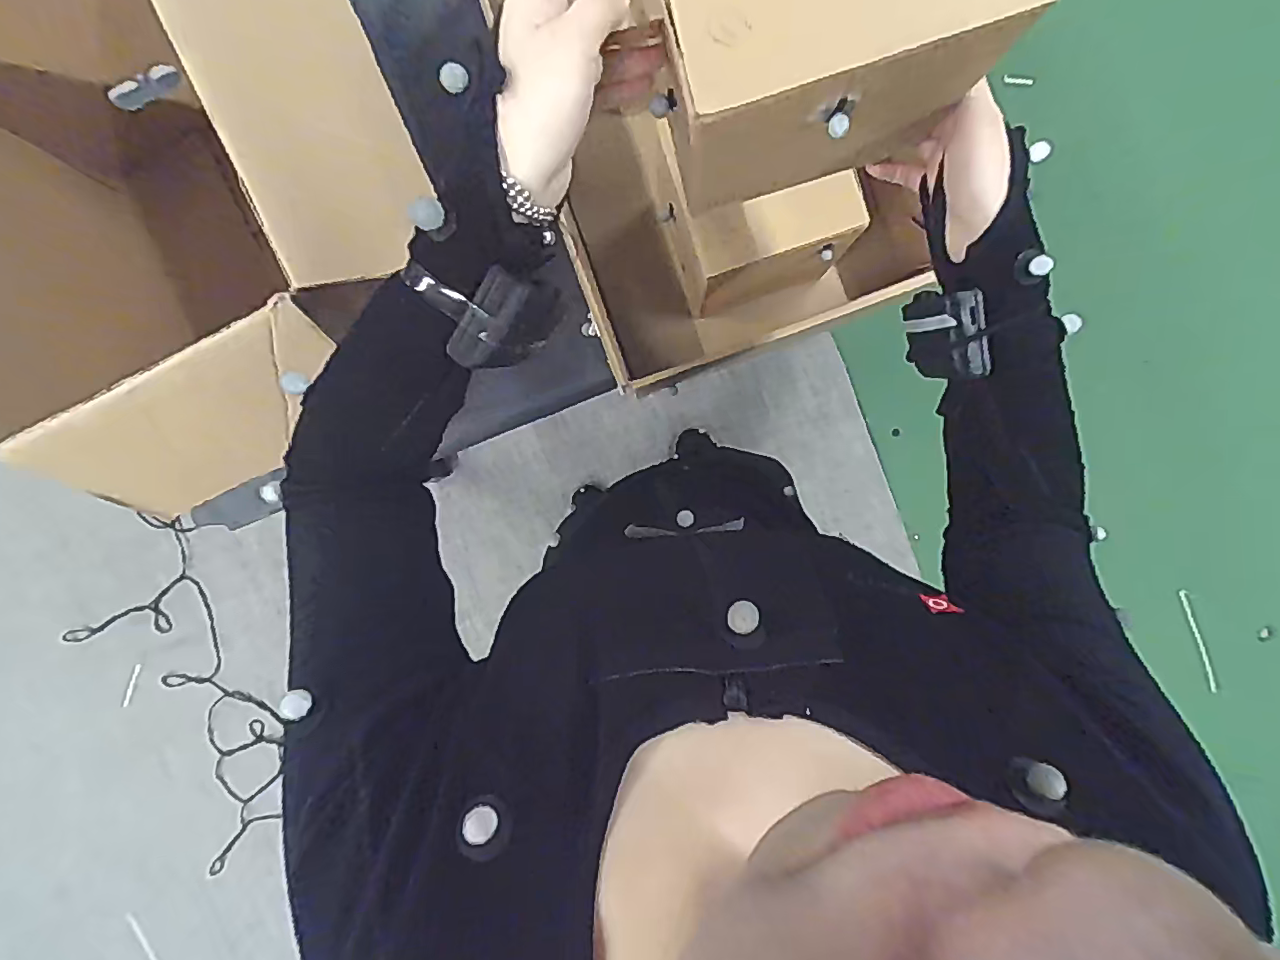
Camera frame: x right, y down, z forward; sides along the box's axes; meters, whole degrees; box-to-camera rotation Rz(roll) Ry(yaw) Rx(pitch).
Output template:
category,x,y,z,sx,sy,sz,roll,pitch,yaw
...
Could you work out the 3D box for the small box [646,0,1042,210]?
category,x,y,z,sx,sy,sz,roll,pitch,yaw
small box,0.097,-0.294,0.334,0.179,0.176,0.168,-14,99,7
